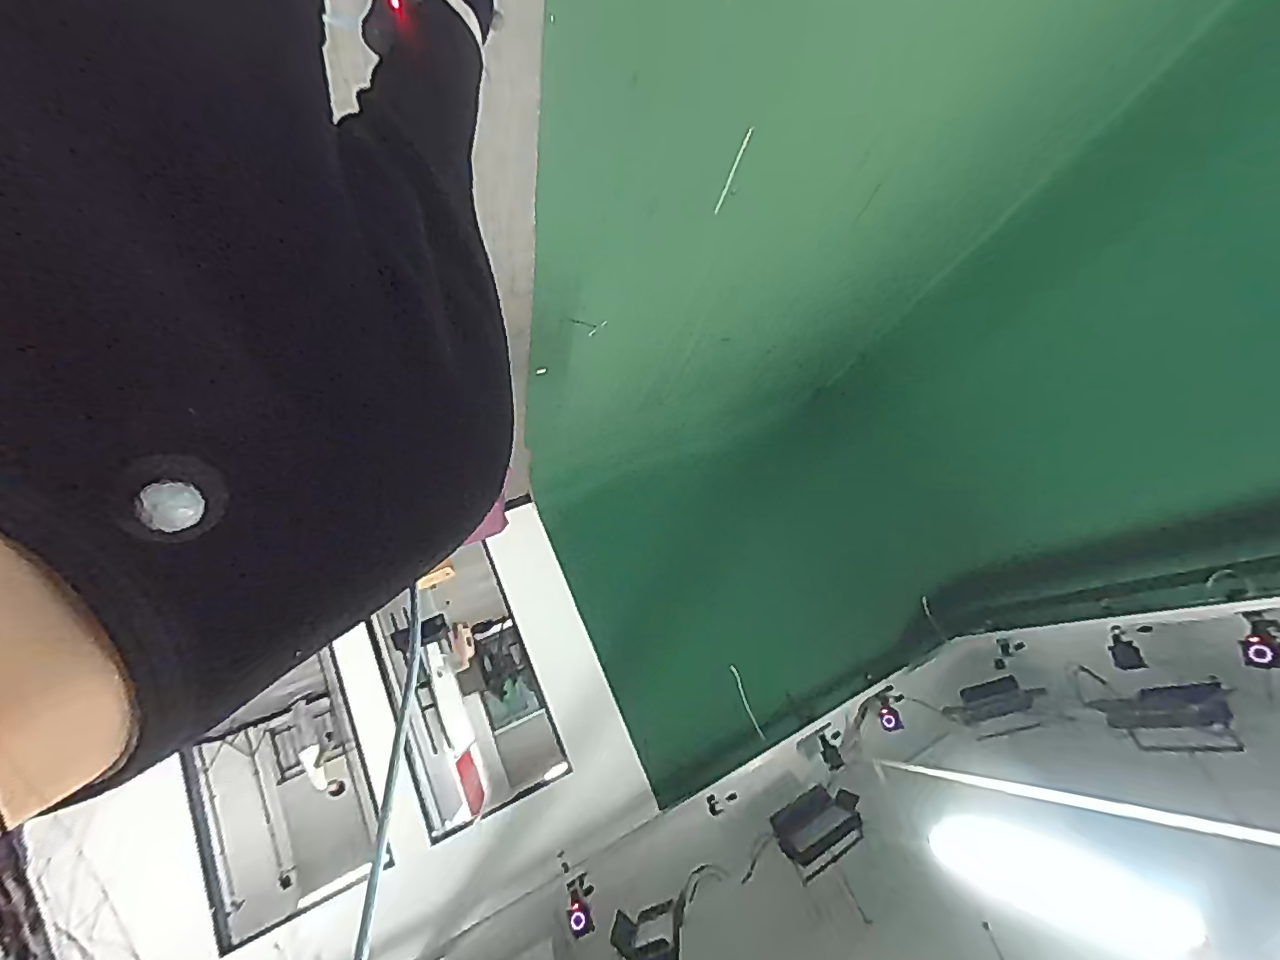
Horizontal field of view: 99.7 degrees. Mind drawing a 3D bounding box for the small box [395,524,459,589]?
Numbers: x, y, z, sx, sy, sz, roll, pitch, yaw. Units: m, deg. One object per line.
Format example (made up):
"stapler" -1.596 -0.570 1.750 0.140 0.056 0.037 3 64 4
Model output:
"small box" -0.800 0.286 2.025 0.179 0.176 0.168 -21 165 -15
